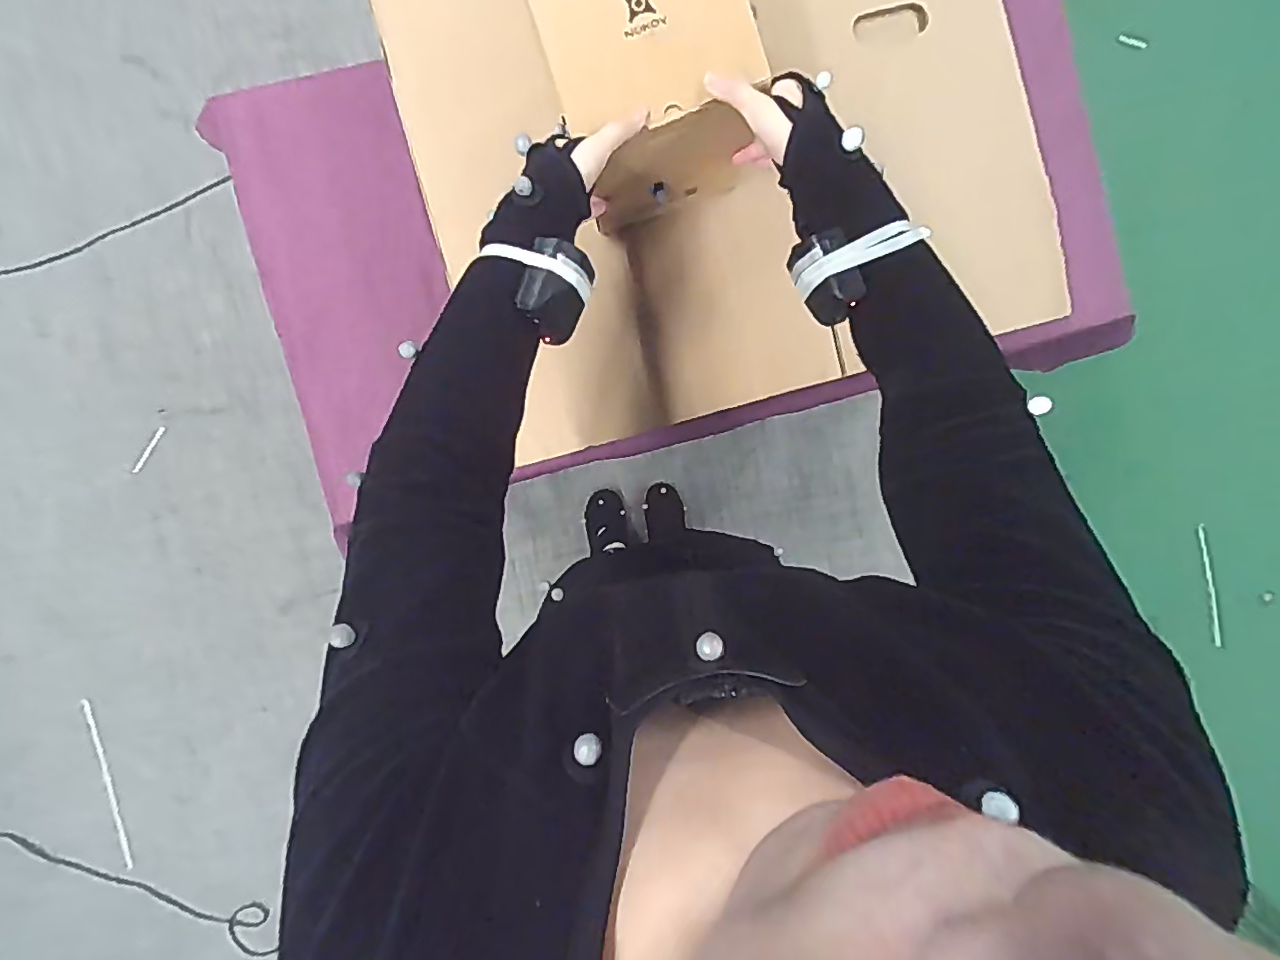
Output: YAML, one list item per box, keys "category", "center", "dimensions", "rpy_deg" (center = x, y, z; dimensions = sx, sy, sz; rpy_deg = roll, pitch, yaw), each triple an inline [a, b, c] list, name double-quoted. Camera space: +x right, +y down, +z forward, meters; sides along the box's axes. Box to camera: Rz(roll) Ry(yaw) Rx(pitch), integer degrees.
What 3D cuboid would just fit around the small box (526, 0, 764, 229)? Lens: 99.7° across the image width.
- category: "small box"
  center: [0.001, -0.377, 0.515]
  dimensions: [0.168, 0.176, 0.179]
  rpy_deg: [-19, 93, 4]
